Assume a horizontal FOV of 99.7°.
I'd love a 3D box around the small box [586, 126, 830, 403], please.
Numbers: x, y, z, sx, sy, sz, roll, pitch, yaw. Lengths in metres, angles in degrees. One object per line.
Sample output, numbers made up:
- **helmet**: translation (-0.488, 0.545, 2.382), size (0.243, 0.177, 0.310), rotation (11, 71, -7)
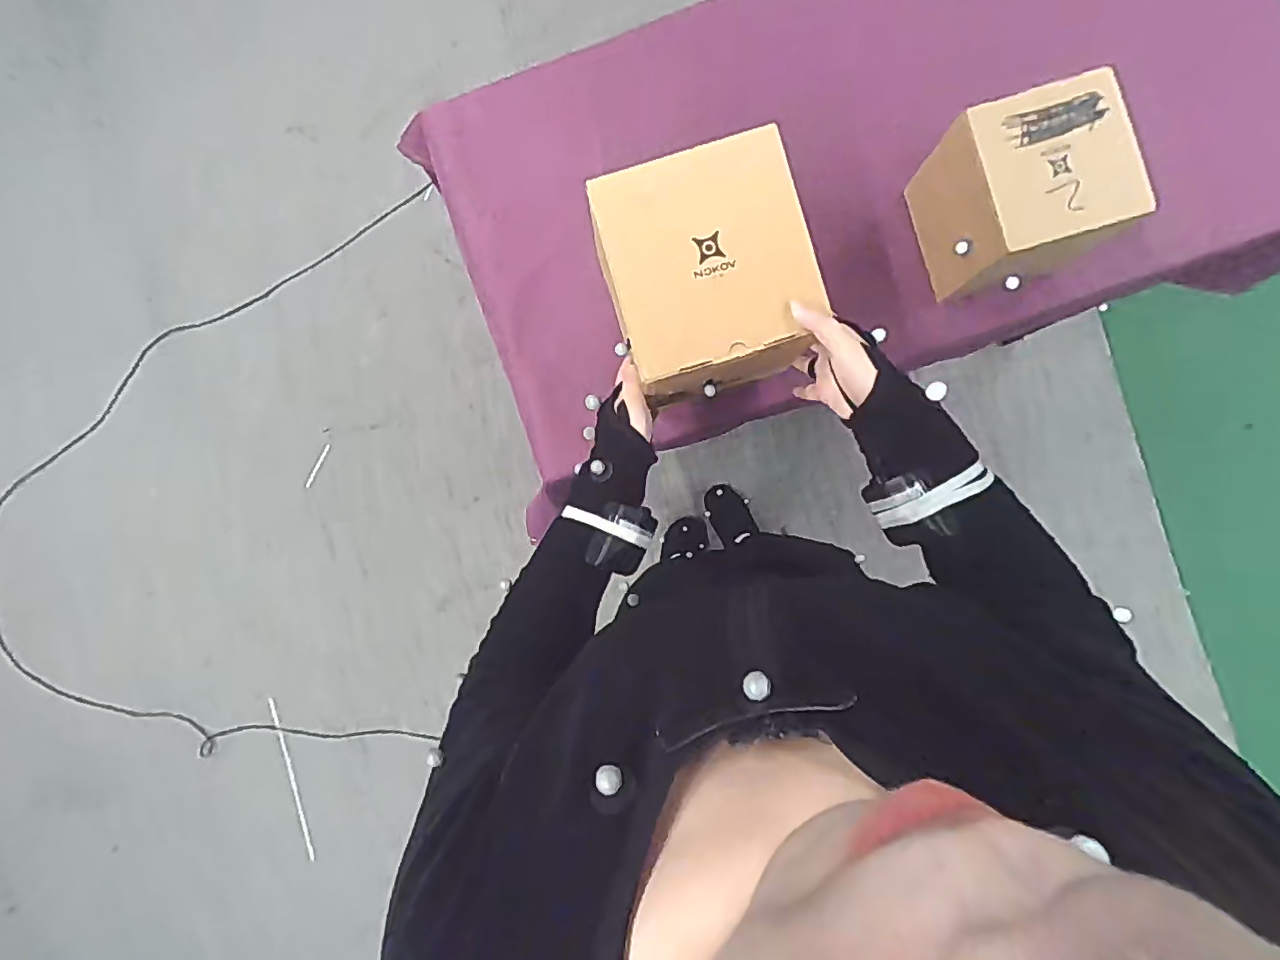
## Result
- **small box**: translation (0.055, -0.186, 0.522), size (0.168, 0.176, 0.179), rotation (-17, 91, 2)
